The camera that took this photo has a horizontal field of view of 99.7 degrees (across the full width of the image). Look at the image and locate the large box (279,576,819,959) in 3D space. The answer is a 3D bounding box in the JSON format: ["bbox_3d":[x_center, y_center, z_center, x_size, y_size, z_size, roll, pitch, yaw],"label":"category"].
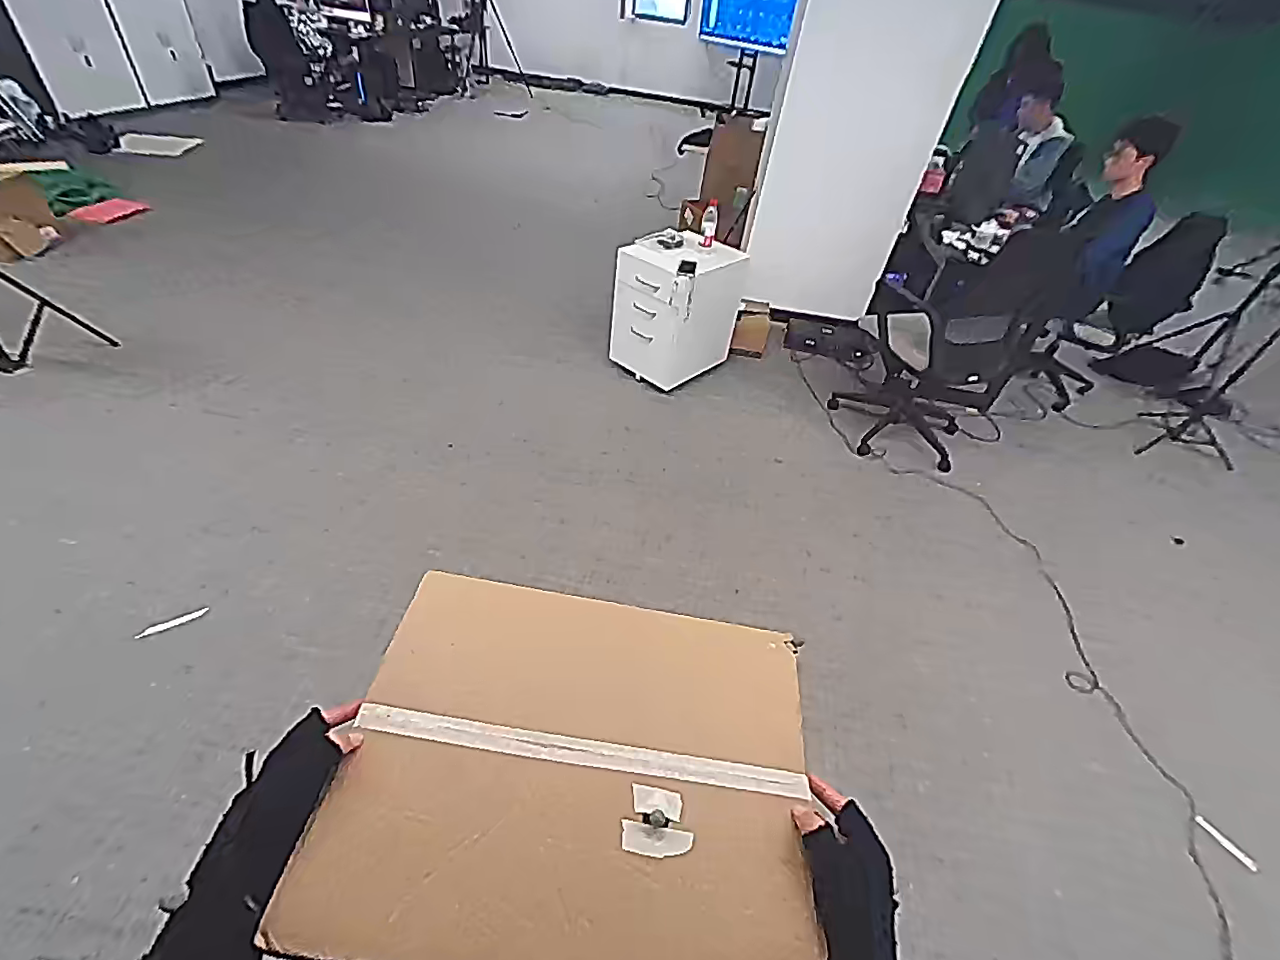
[{"bbox_3d":[-0.072,0.348,0.595,0.408,0.320,0.320,11,45,-2],"label":"large box"}]
